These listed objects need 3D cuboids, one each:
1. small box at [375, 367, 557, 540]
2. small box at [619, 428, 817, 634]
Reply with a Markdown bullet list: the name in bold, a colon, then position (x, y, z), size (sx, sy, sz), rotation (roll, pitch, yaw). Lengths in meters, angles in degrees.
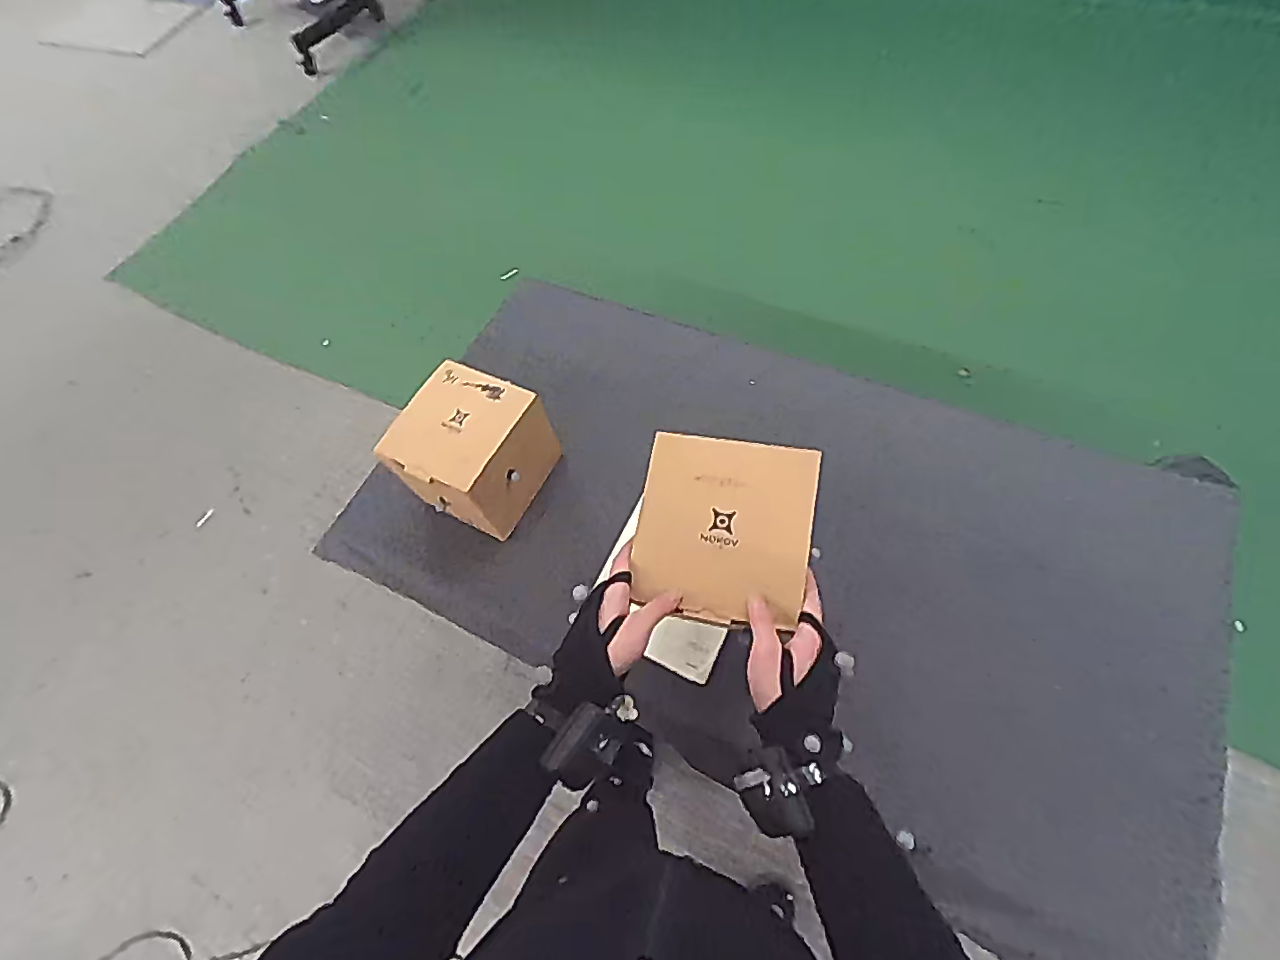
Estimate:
- **small box**: position (-0.247, -0.032, 0.819), size (0.168, 0.176, 0.179), rotation (23, 68, 16)
- **small box**: position (0.089, 0.063, 0.583), size (0.168, 0.176, 0.179), rotation (8, 73, 13)
